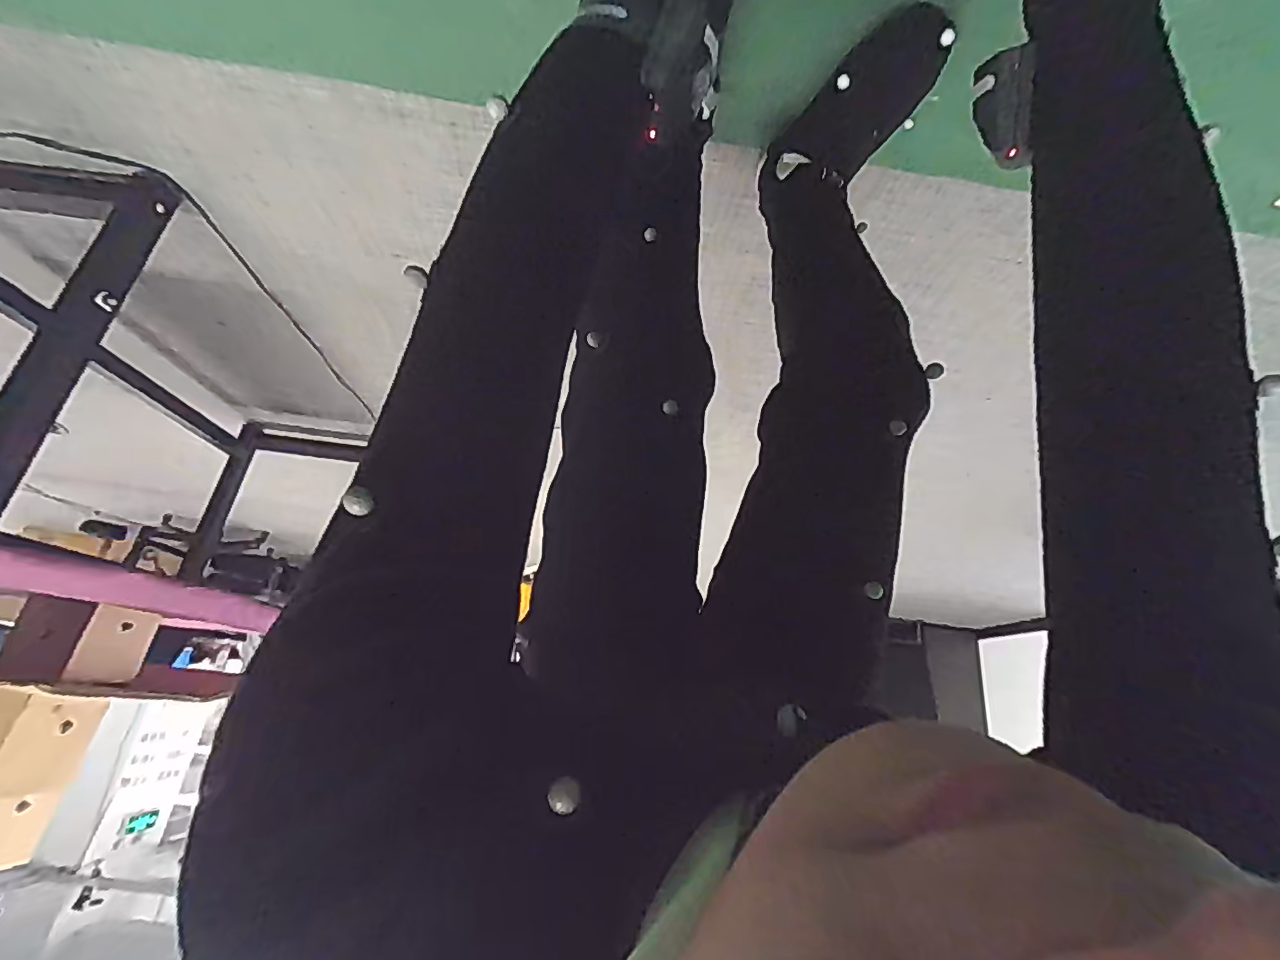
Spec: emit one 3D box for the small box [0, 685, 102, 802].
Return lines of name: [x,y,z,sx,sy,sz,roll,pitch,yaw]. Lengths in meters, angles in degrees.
small box: [-1.110,0.448,0.932,0.179,0.176,0.168,6,156,1]

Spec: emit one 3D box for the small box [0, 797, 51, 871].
small box: [-1.323,0.663,1.057,0.179,0.176,0.168,6,155,1]

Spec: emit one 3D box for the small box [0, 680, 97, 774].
small box: [-1.301,0.515,1.125,0.179,0.176,0.168,7,155,1]
